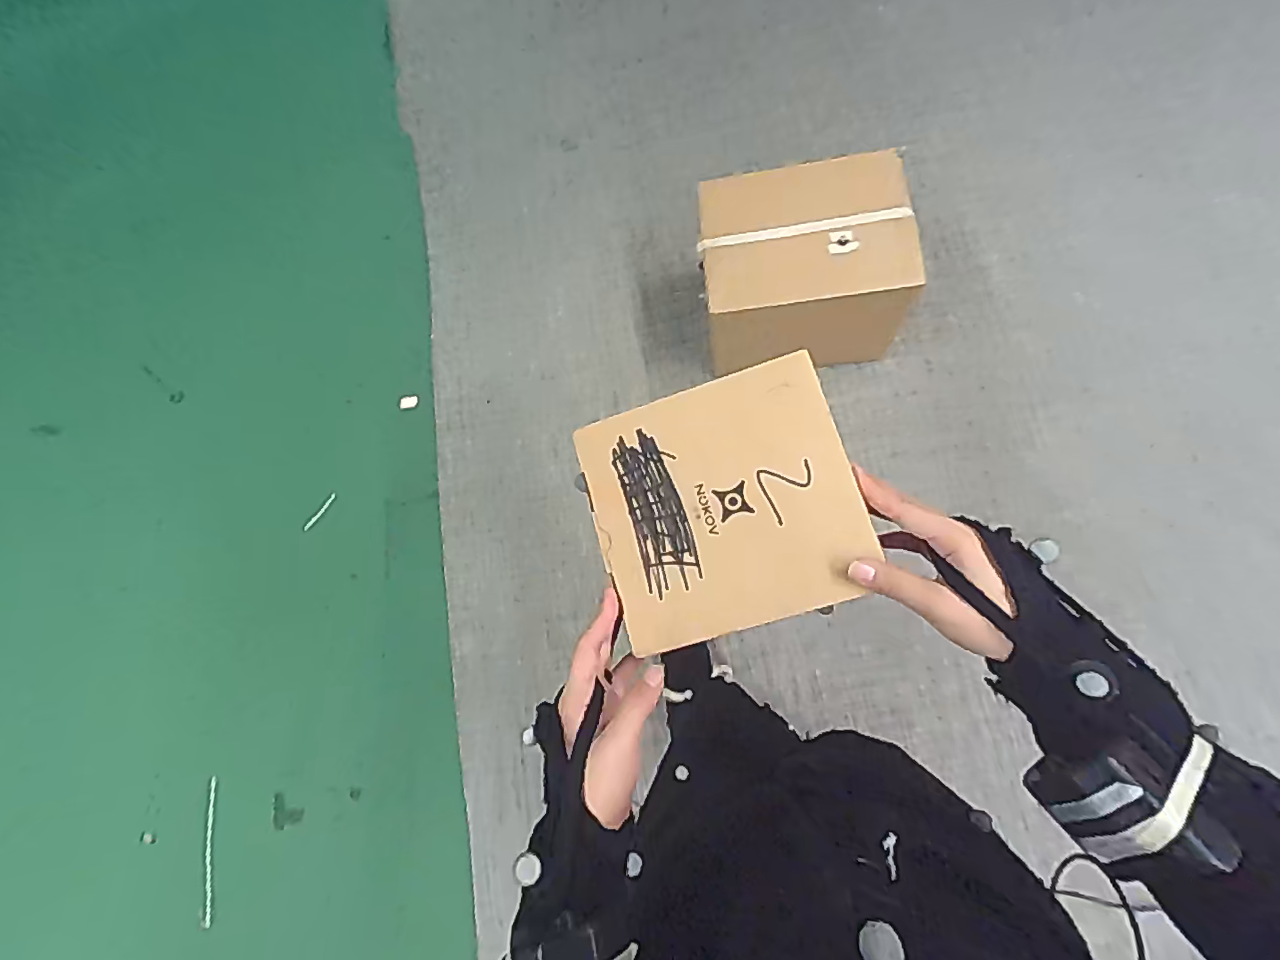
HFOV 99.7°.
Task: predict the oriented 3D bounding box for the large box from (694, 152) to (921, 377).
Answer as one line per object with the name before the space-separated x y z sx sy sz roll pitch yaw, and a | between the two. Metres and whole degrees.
large box | 0.343 -0.454 1.213 0.408 0.320 0.320 -6 76 8
